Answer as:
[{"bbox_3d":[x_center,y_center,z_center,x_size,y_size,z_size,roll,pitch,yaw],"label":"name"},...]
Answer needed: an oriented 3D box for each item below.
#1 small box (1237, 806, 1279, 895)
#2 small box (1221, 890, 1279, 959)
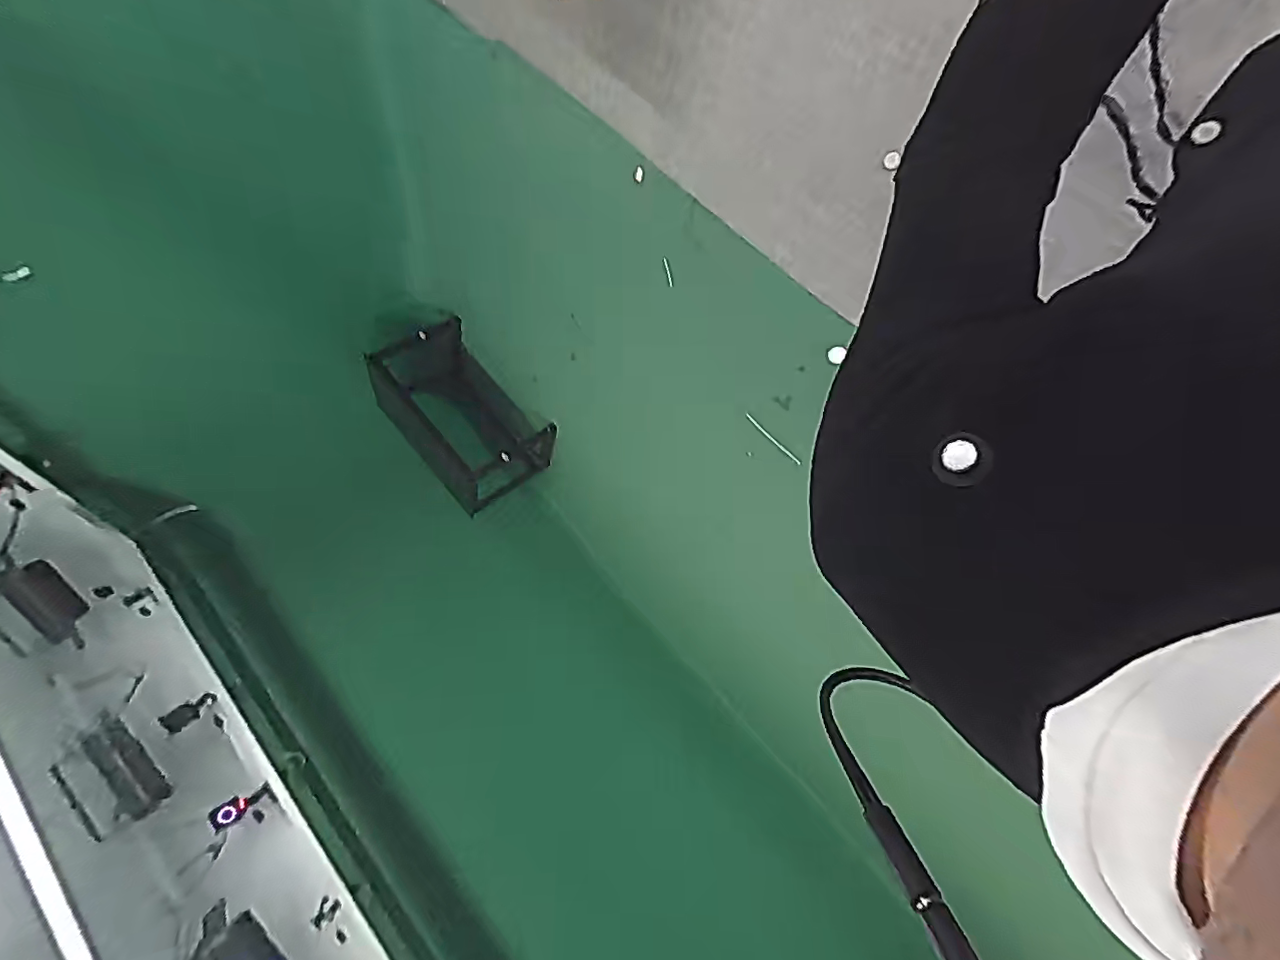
[{"bbox_3d":[1.049,0.614,0.784,0.179,0.176,0.168,46,150,13],"label":"small box"},{"bbox_3d":[0.922,0.685,0.708,0.179,0.176,0.168,44,149,14],"label":"small box"}]
